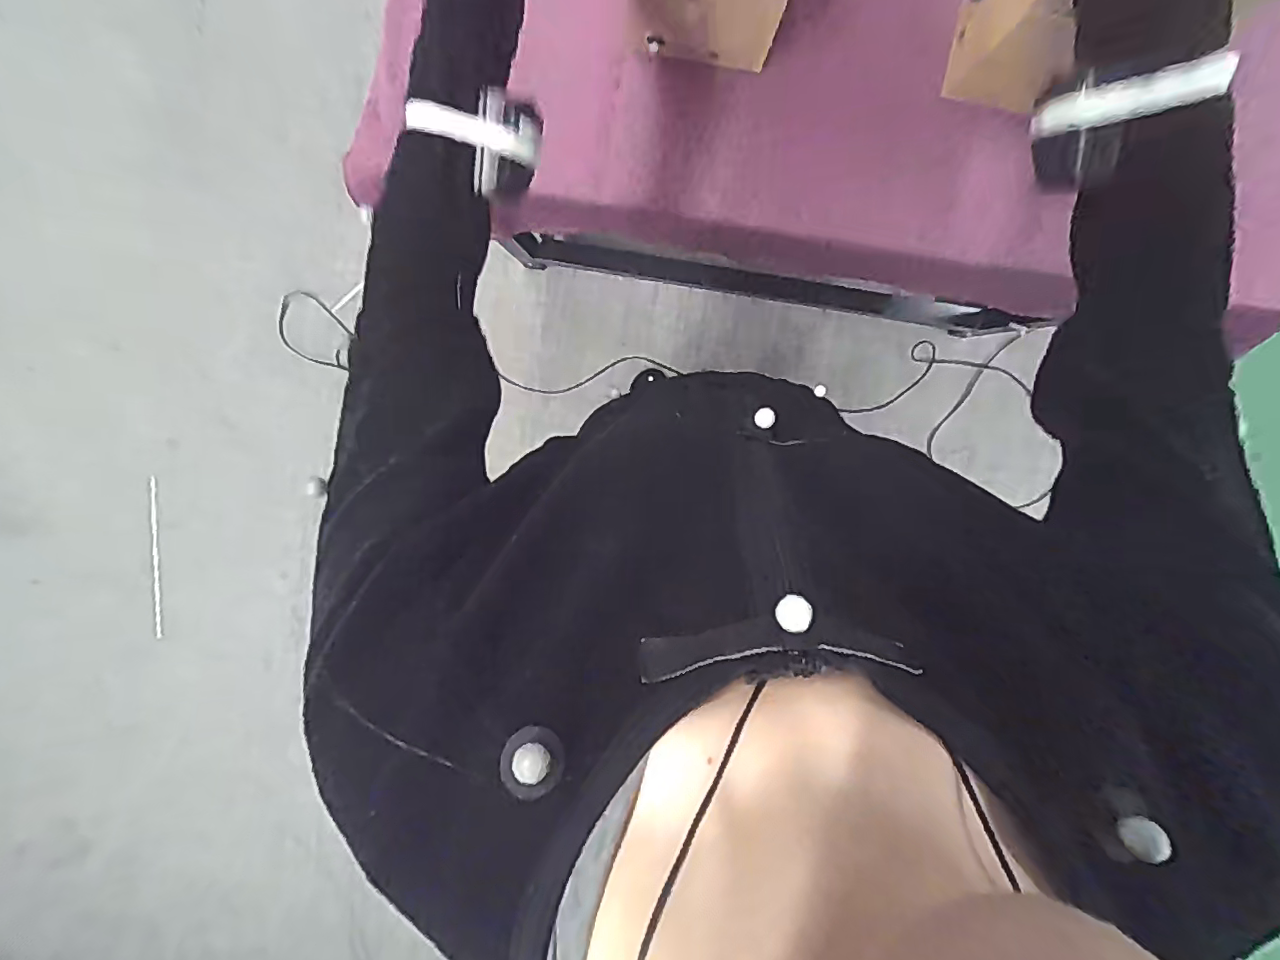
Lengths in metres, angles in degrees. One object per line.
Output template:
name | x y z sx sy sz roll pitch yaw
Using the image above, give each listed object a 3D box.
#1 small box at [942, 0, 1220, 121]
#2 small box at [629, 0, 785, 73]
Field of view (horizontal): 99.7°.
small box | 0.469 -0.518 0.578 0.179 0.176 0.168 10 100 -1
small box | 0.080 -0.578 0.573 0.168 0.176 0.179 8 100 -1
